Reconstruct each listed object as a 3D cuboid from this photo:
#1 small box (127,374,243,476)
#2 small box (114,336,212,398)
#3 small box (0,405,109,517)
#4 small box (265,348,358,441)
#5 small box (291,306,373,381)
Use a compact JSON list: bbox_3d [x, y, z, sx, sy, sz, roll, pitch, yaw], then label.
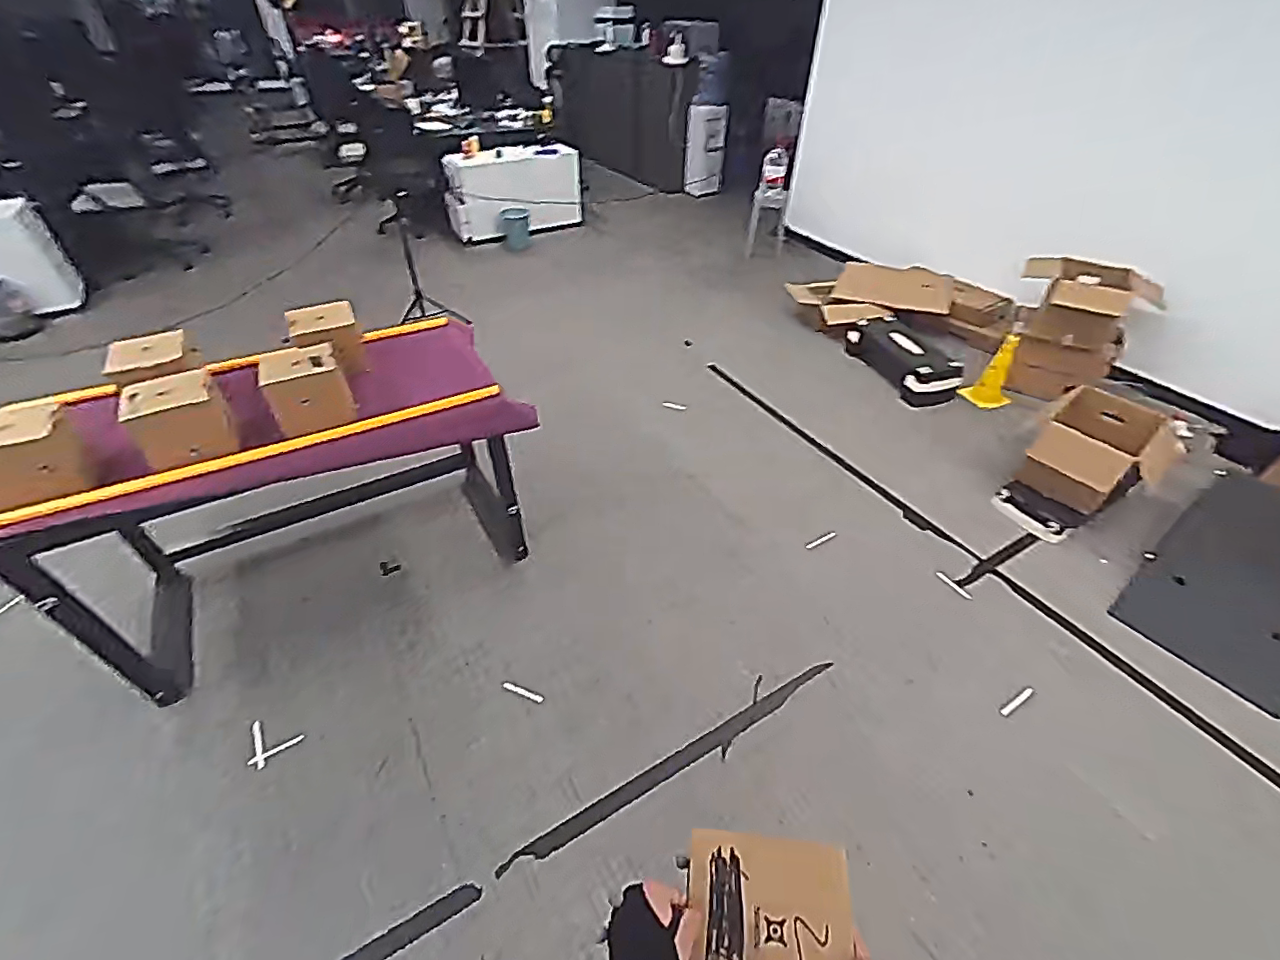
[{"bbox_3d":[-1.132,-0.138,1.363,0.179,0.176,0.168,-21,46,-23],"label":"small box"},{"bbox_3d":[-1.312,-0.276,1.512,0.168,0.176,0.179,-21,48,-22],"label":"small box"},{"bbox_3d":[-1.389,-0.044,1.251,0.179,0.176,0.168,-20,45,-24],"label":"small box"},{"bbox_3d":[-0.887,-0.234,1.473,0.179,0.176,0.168,-20,44,-20],"label":"small box"},{"bbox_3d":[-0.944,-0.412,1.672,0.179,0.176,0.168,-21,47,-21],"label":"small box"}]
